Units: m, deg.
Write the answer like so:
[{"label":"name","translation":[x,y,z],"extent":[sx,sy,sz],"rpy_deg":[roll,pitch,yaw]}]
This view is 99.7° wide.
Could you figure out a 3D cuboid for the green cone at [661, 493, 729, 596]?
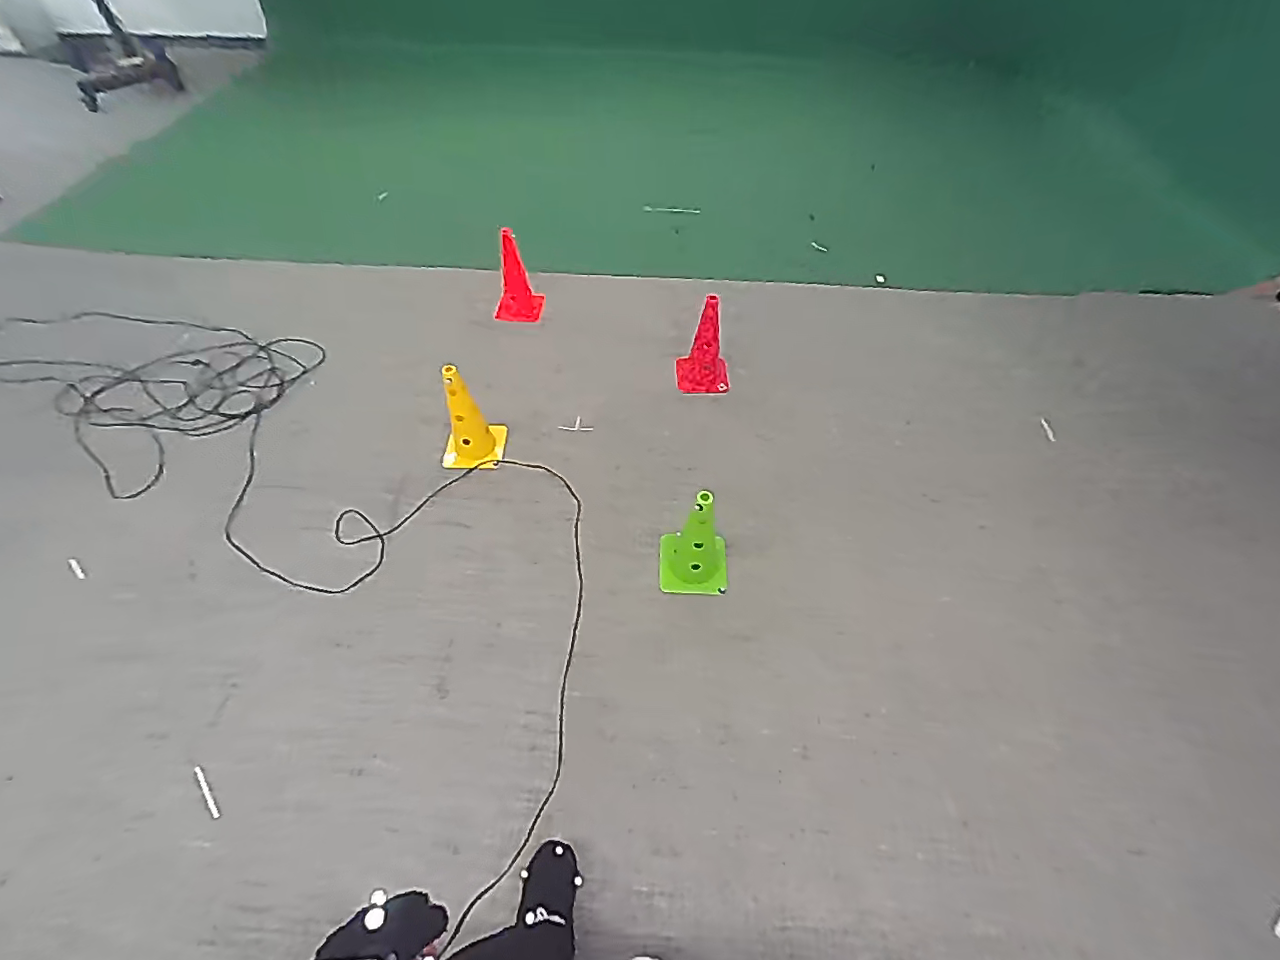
[{"label":"green cone","translation":[0.162,0.154,1.510],"extent":[0.202,0.368,0.200],"rpy_deg":[1,52,2]}]

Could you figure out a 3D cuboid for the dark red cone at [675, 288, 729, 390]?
[{"label":"dark red cone","translation":[0.245,-0.528,2.006],"extent":[0.202,0.394,0.201],"rpy_deg":[-1,51,-1]}]

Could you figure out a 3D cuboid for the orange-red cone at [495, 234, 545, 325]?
[{"label":"orange-red cone","translation":[-0.537,-0.858,2.285],"extent":[0.198,0.360,0.199],"rpy_deg":[3,53,3]}]
